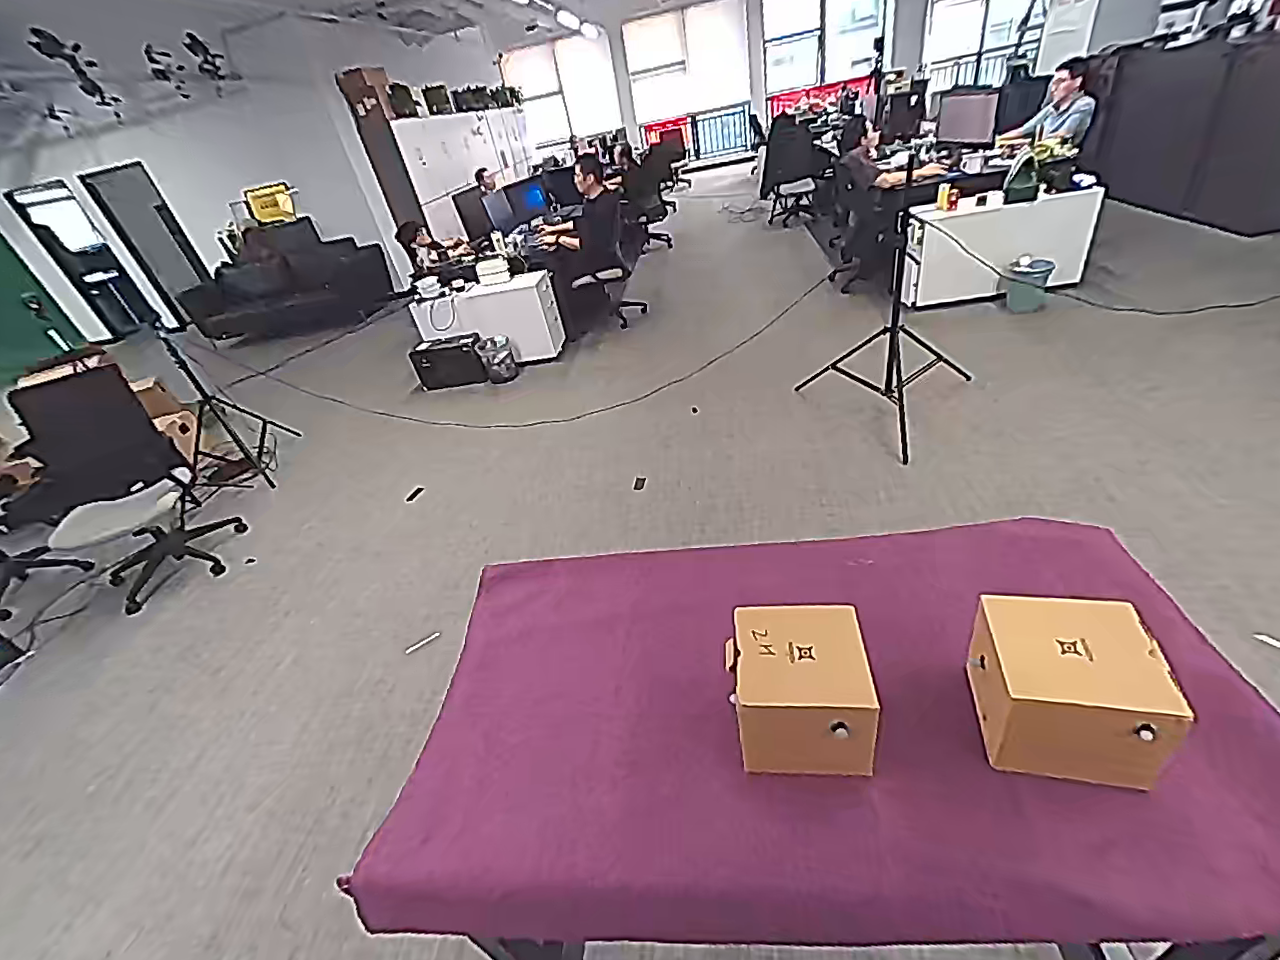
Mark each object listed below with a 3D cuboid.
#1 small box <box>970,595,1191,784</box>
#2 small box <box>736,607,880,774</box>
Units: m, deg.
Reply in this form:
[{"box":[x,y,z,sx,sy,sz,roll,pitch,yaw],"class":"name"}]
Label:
[{"box":[0.556,0.275,0.720,0.179,0.176,0.168,0,36,18],"class":"small box"},{"box":[0.234,0.304,0.786,0.179,0.176,0.168,-5,34,12],"class":"small box"}]
